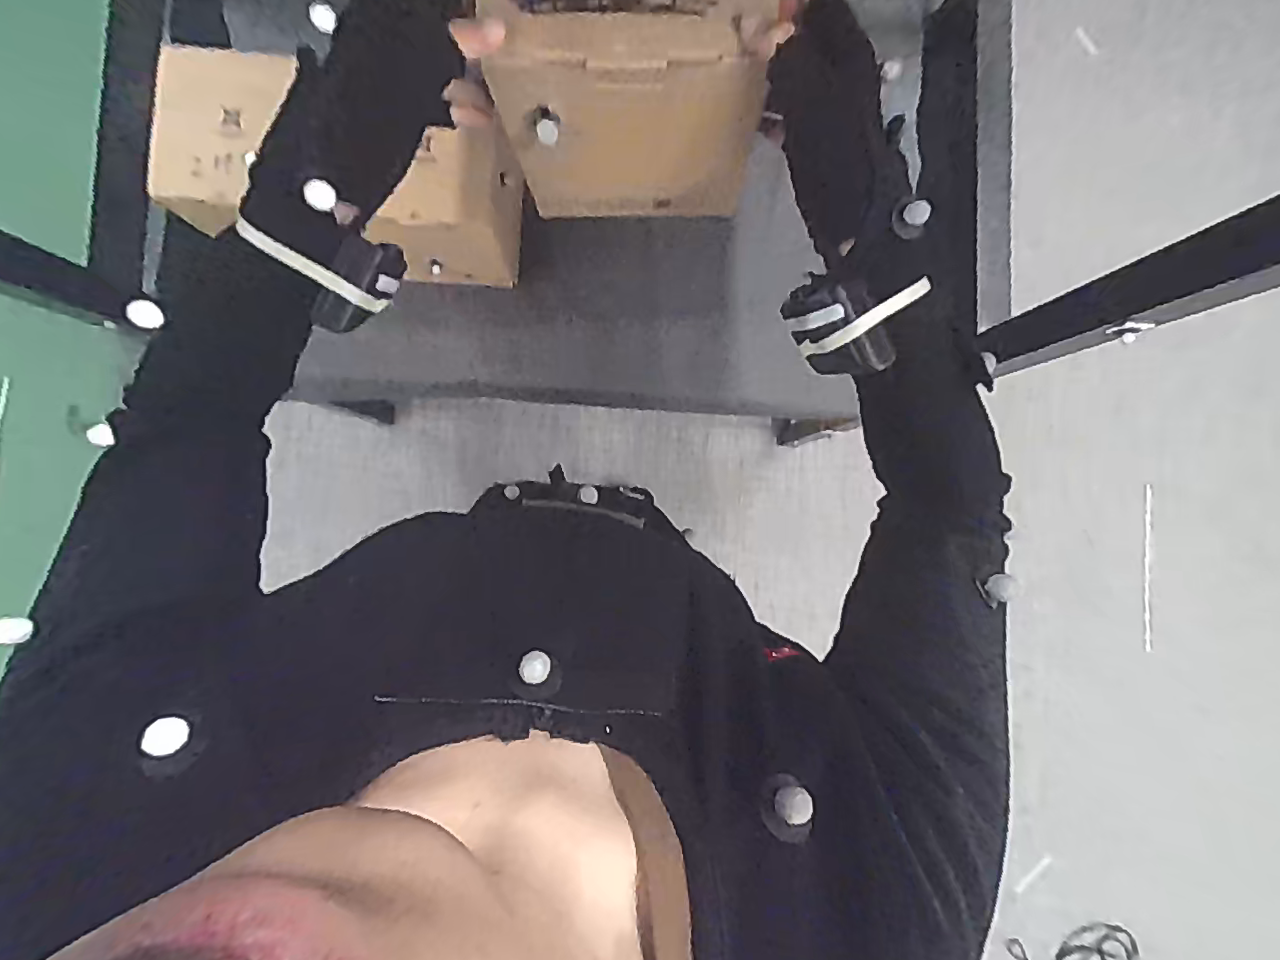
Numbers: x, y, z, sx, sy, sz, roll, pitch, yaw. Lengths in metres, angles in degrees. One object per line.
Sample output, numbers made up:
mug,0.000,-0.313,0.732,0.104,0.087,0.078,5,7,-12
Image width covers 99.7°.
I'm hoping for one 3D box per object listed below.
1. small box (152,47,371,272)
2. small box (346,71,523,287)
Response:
small box,-0.455,-0.390,0.684,0.168,0.176,0.179,3,87,-3
small box,-0.248,-0.372,0.695,0.168,0.176,0.179,3,87,-3
